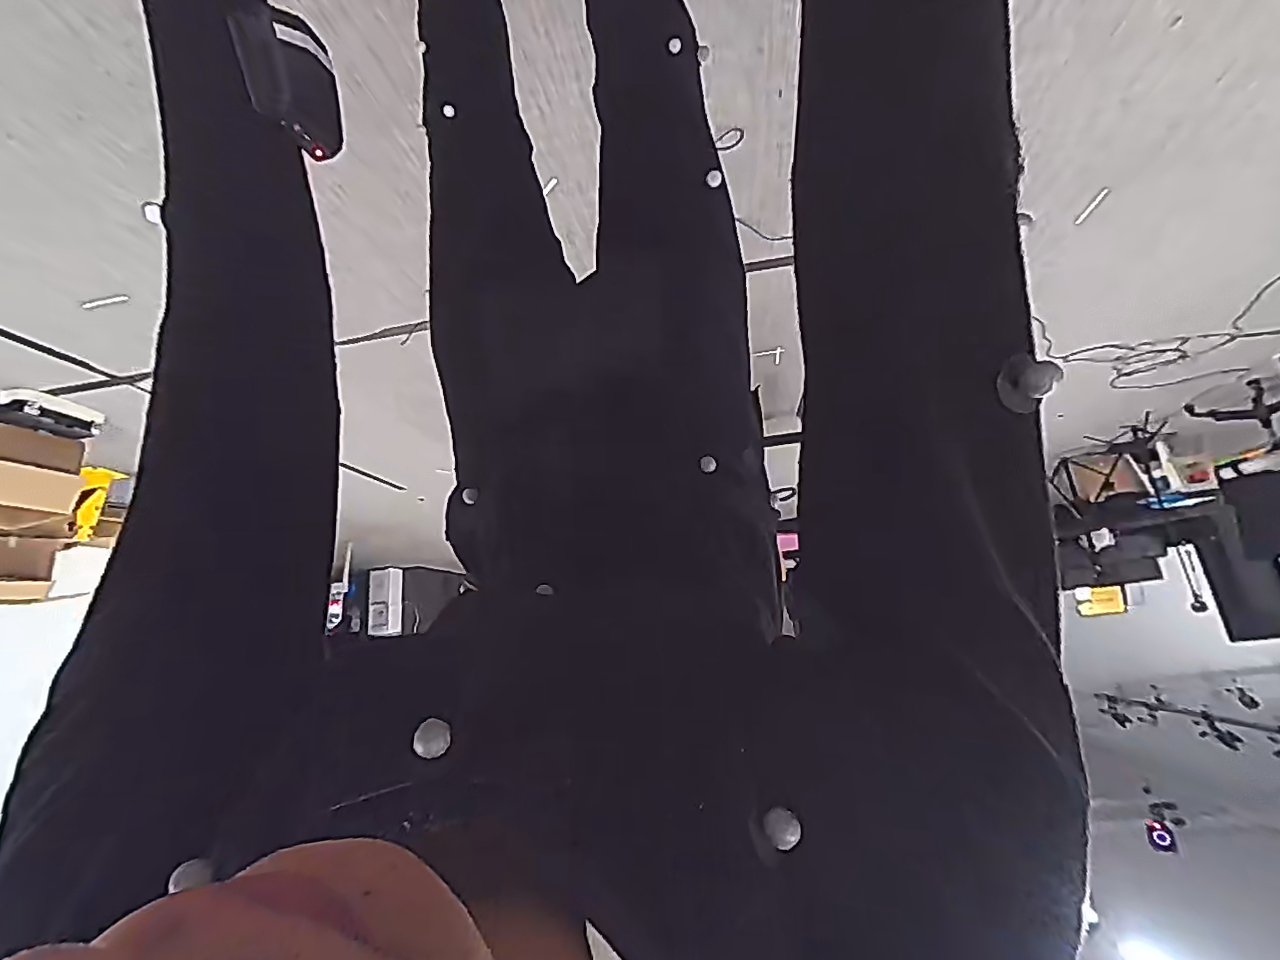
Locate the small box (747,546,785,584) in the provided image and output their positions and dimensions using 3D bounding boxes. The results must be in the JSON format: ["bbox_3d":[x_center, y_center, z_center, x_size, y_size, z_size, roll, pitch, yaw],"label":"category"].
[{"bbox_3d":[0.636,0.431,2.736,0.168,0.176,0.179,-9,163,10],"label":"small box"}]
